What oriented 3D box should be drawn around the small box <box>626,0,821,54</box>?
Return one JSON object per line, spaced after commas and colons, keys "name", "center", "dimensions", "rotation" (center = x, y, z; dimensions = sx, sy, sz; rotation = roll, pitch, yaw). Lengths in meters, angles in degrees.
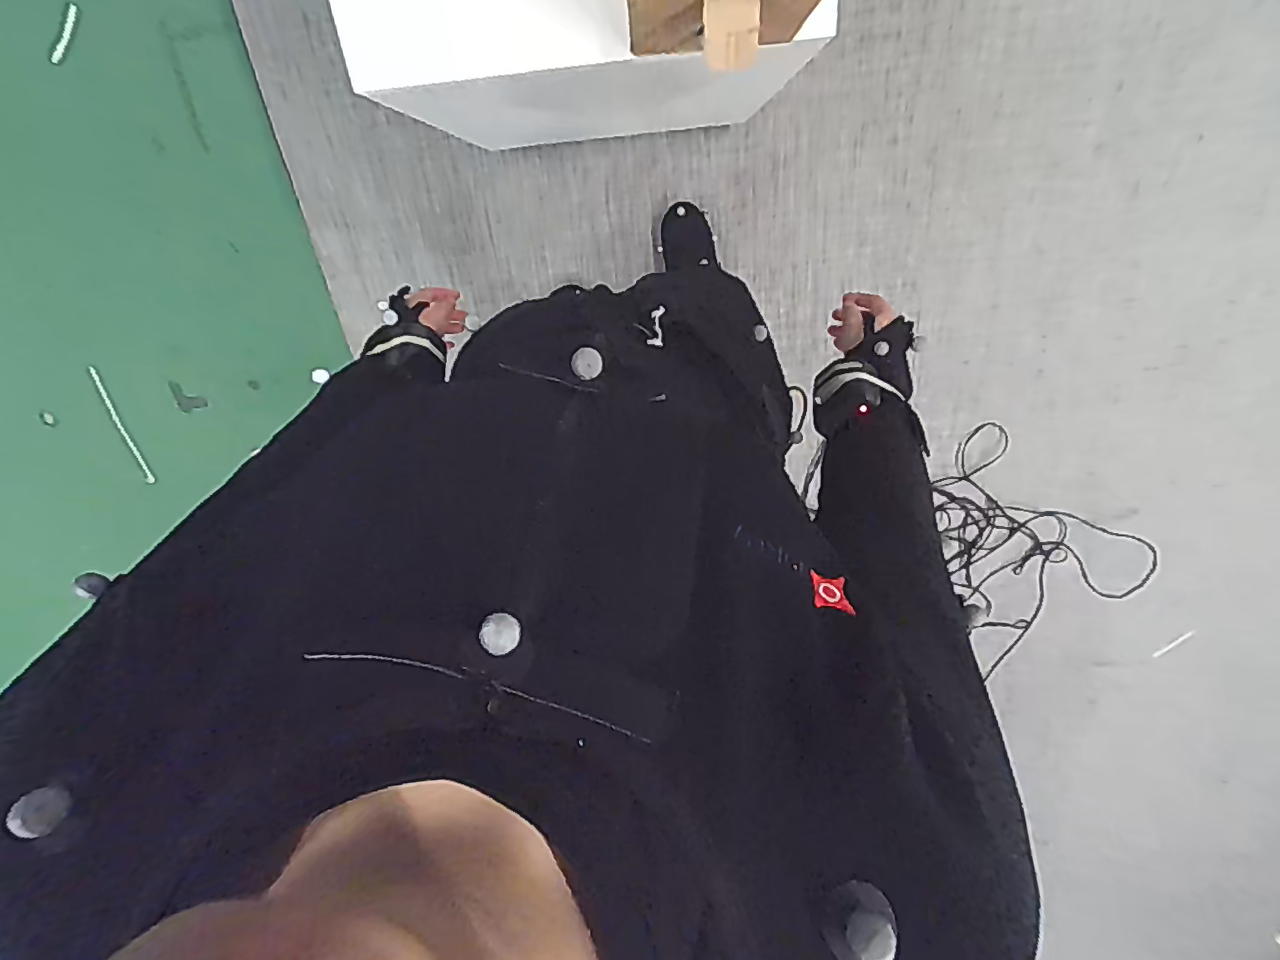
{"name": "small box", "center": [0.066, -0.484, 0.440], "dimensions": [0.168, 0.176, 0.179], "rotation": [-4, 115, 2]}
